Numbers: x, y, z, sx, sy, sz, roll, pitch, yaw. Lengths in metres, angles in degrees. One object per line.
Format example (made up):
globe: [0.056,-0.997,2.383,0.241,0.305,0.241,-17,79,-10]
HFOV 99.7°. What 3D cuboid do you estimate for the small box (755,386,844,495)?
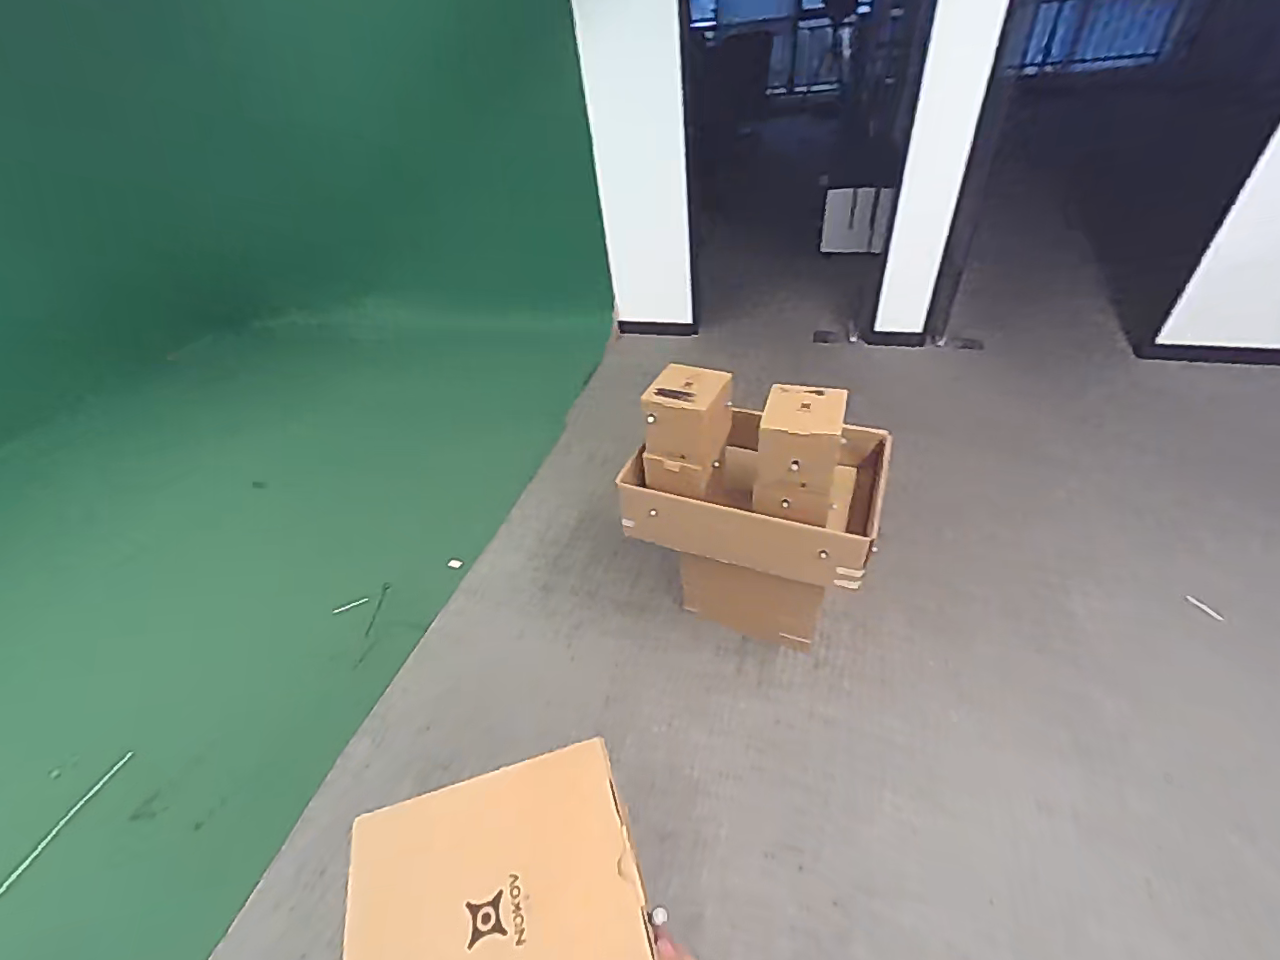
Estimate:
small box: [0.359,-0.089,1.228,0.168,0.176,0.179,10,45,19]

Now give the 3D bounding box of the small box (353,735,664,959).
small box: [-0.080,0.318,0.382,0.179,0.176,0.168,-13,44,-10]
